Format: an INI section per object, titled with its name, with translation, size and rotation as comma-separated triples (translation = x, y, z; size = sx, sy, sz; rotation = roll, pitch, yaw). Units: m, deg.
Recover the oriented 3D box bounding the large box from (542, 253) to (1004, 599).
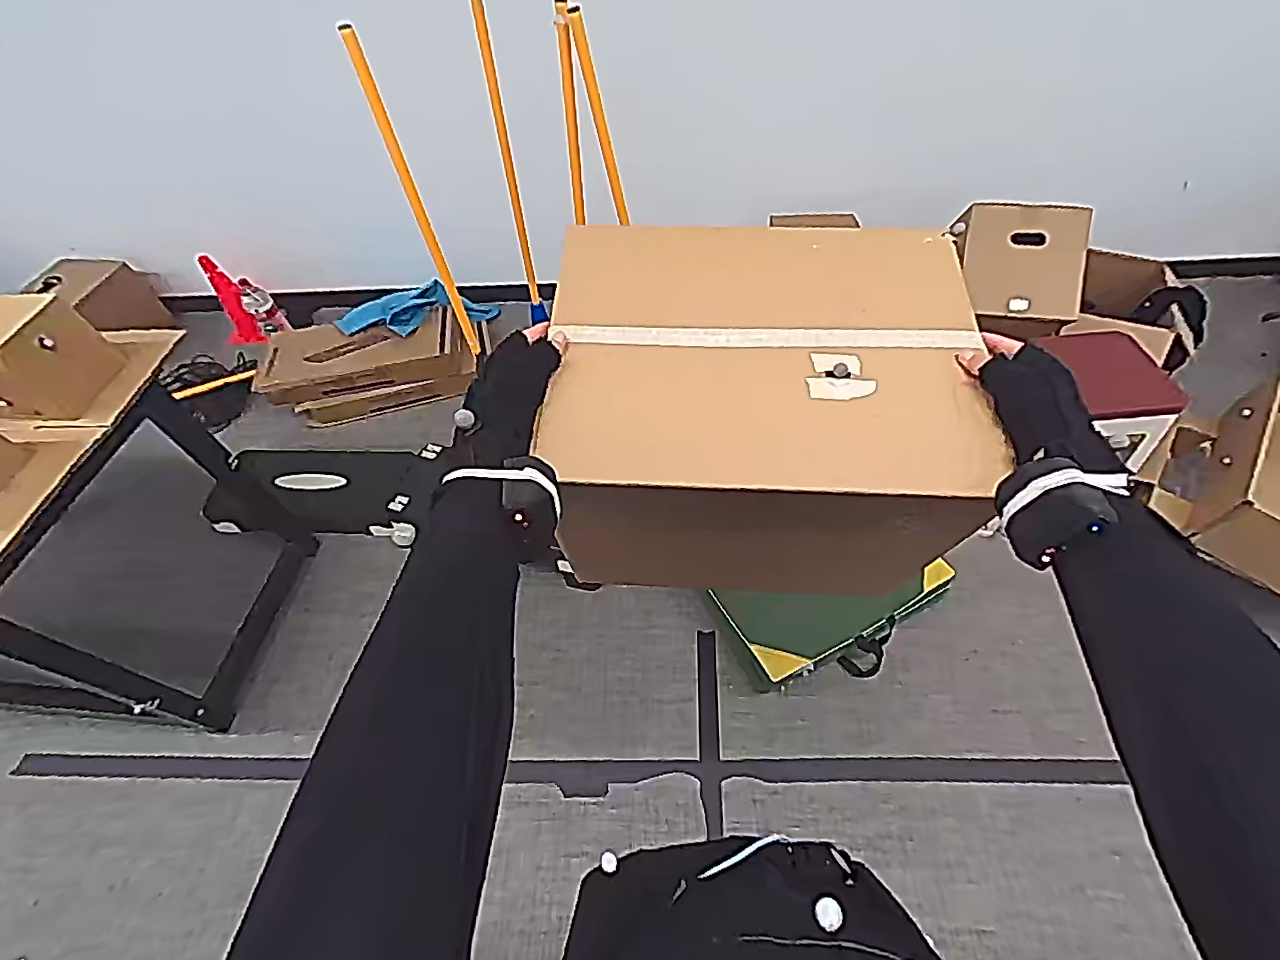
[large box]
translation = 0.119, -0.048, 0.661
size = 0.408, 0.320, 0.320
rotation = 2, 63, 3
